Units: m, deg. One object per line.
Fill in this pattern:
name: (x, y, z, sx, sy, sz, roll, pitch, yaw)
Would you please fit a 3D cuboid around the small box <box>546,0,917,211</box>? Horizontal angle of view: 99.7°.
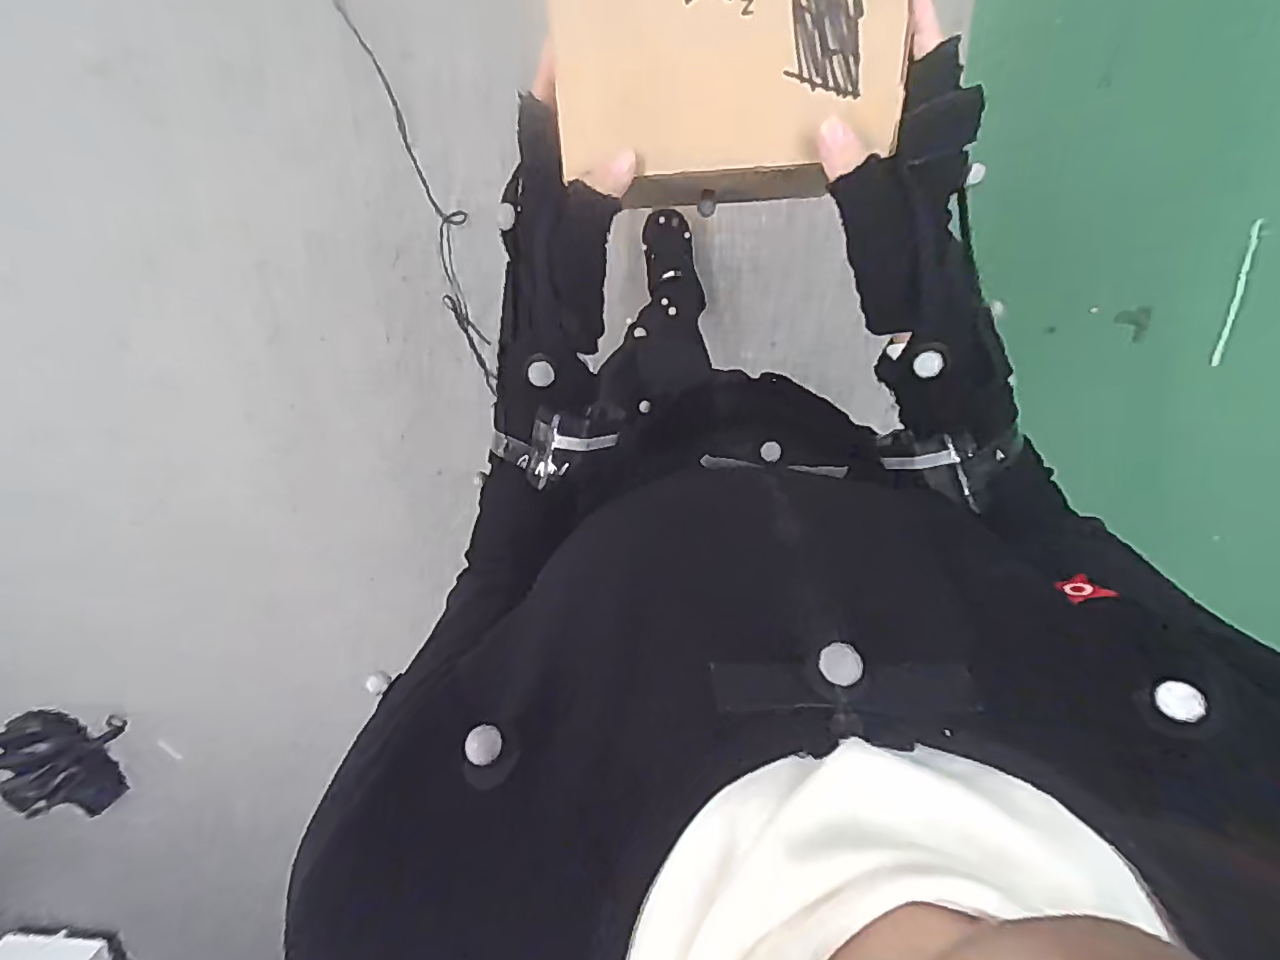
small box: (0.044, -0.266, 0.324, 0.179, 0.176, 0.168, -5, 112, 5)
